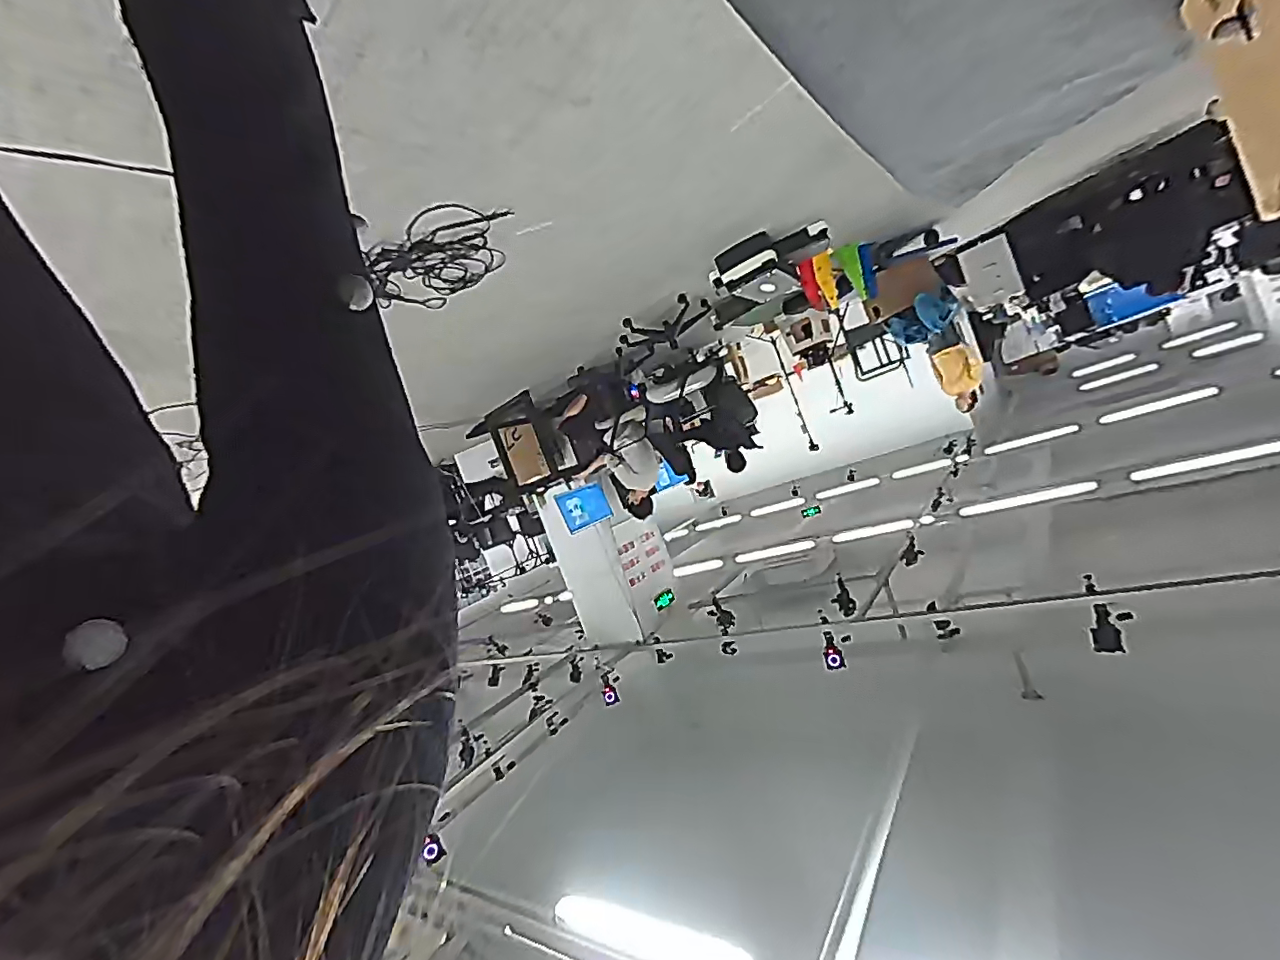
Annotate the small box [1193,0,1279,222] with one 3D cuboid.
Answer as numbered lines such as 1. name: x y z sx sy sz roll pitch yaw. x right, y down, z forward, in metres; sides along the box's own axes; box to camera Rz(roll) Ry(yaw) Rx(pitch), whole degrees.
1. small box: 0.425 -0.258 0.262 0.179 0.176 0.168 -18 -178 41
